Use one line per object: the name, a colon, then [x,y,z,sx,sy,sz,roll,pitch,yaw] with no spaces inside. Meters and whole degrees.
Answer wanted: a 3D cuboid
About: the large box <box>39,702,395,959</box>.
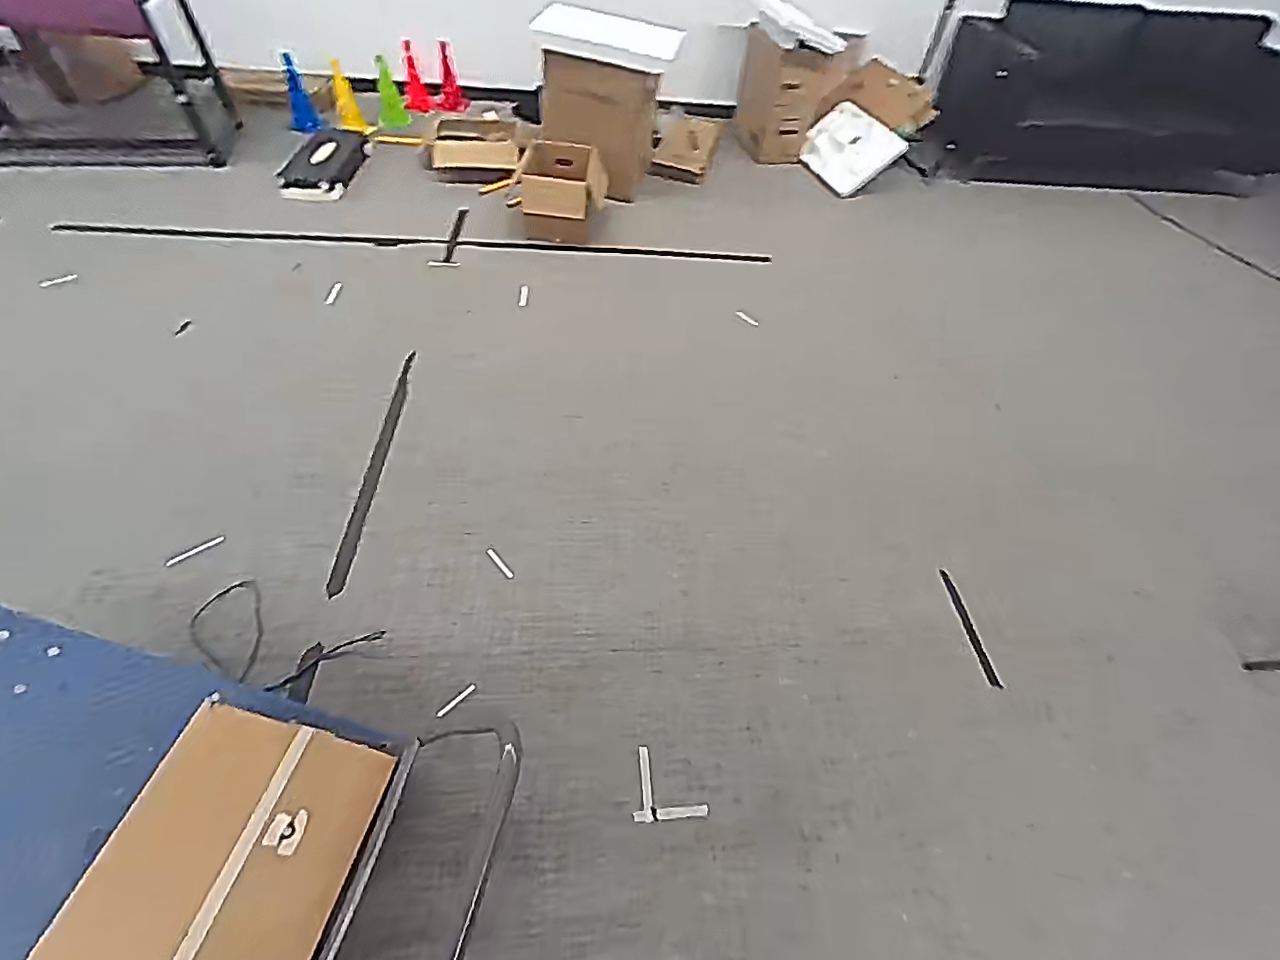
large box: [-0.661,0.642,0.884,0.320,0.320,0.408,28,48,-18]
